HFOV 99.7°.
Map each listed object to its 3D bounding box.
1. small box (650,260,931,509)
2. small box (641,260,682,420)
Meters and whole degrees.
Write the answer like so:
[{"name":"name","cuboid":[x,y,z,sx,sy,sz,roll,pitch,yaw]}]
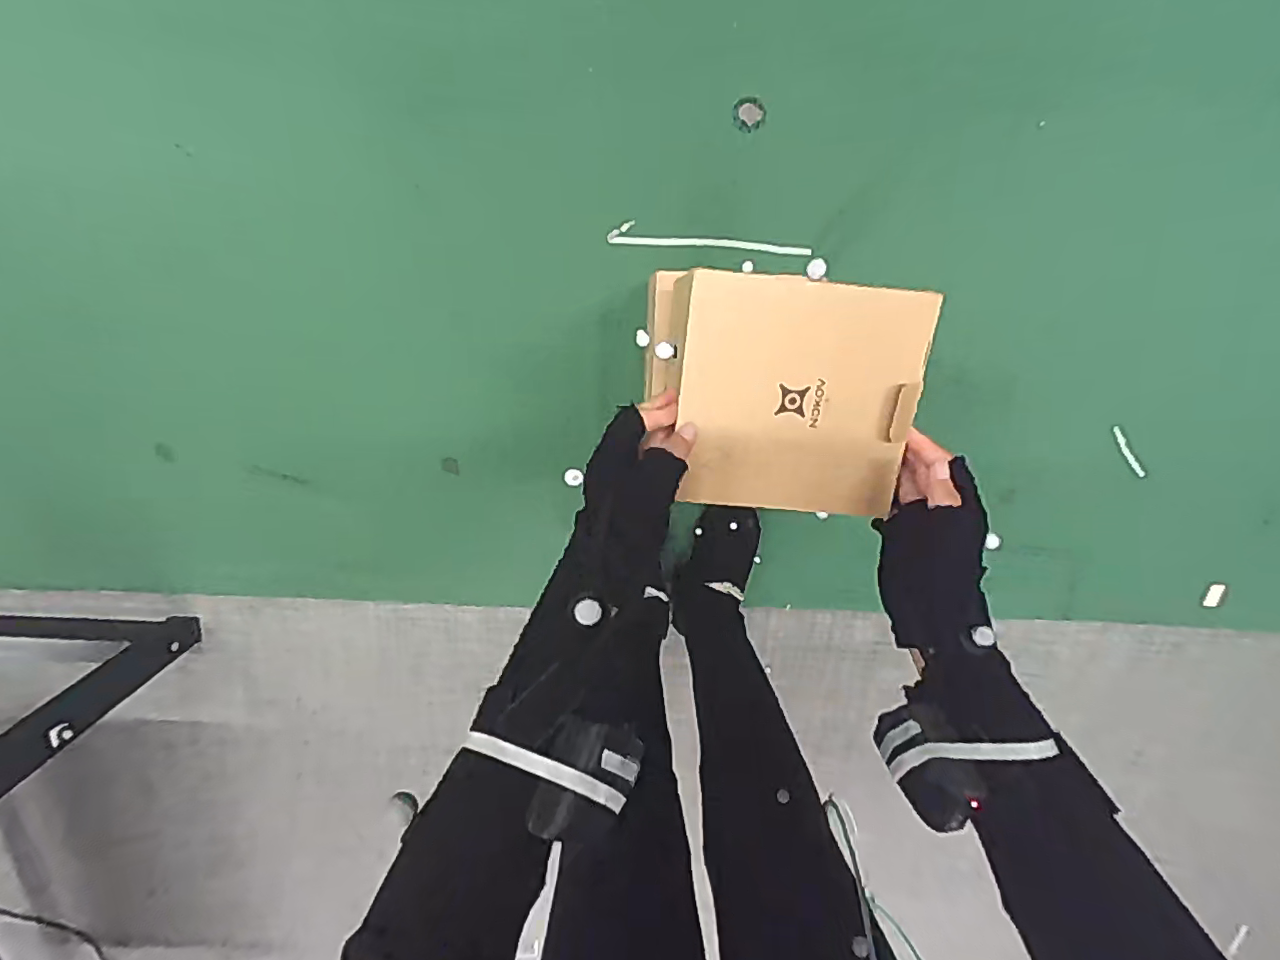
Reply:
[{"name":"small box","cuboid":[0.103,-0.085,0.463,0.179,0.176,0.168,4,107,-4]},{"name":"small box","cuboid":[0.096,-0.160,0.643,0.179,0.176,0.168,4,106,-2]}]
